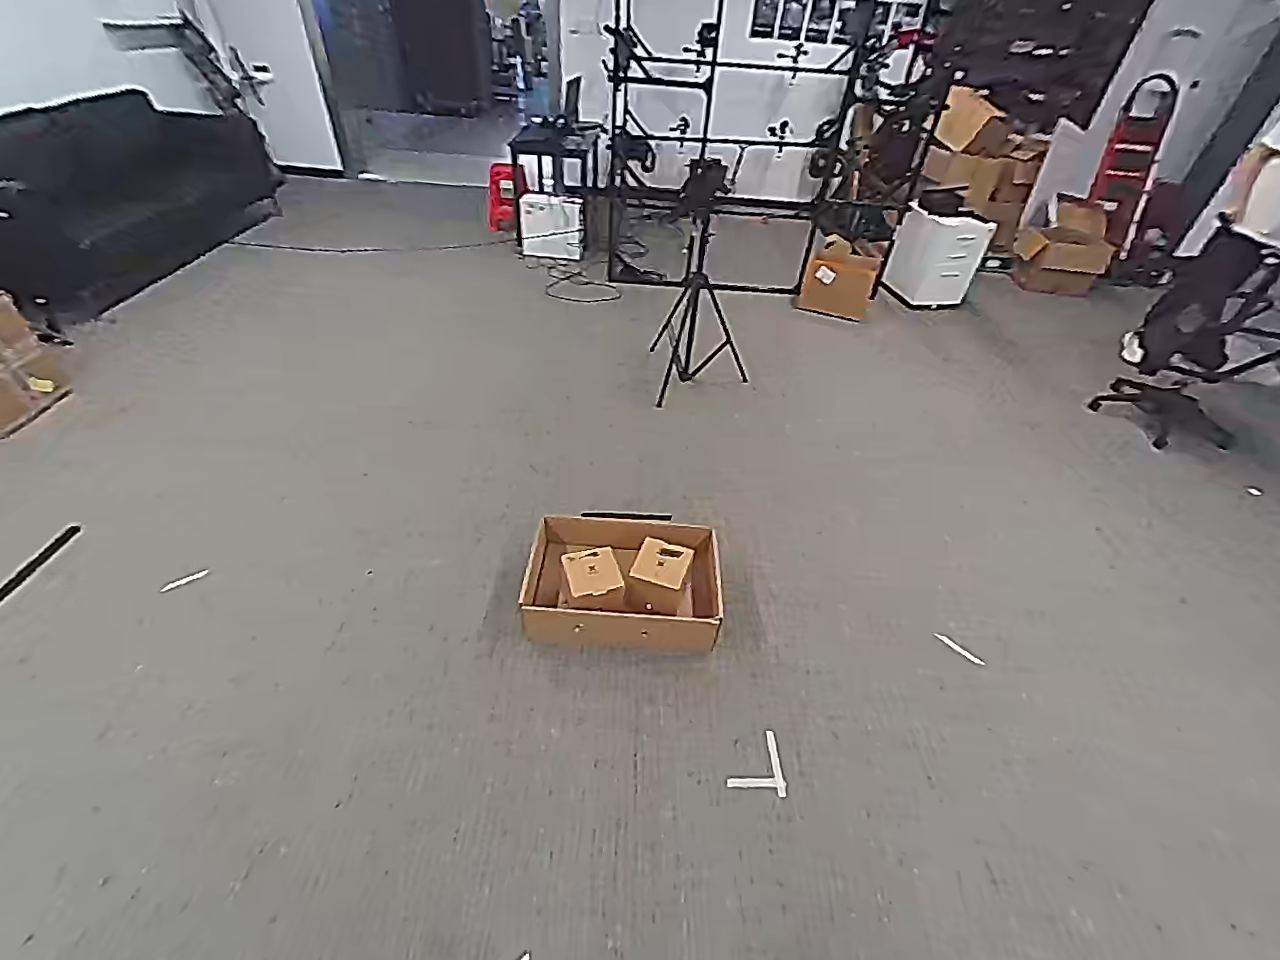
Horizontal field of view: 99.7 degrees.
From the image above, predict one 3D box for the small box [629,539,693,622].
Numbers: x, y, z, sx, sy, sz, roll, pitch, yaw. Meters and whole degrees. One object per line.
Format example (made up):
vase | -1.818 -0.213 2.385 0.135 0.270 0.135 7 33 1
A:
small box | 0.066 0.331 1.777 0.168 0.176 0.179 14 42 13
